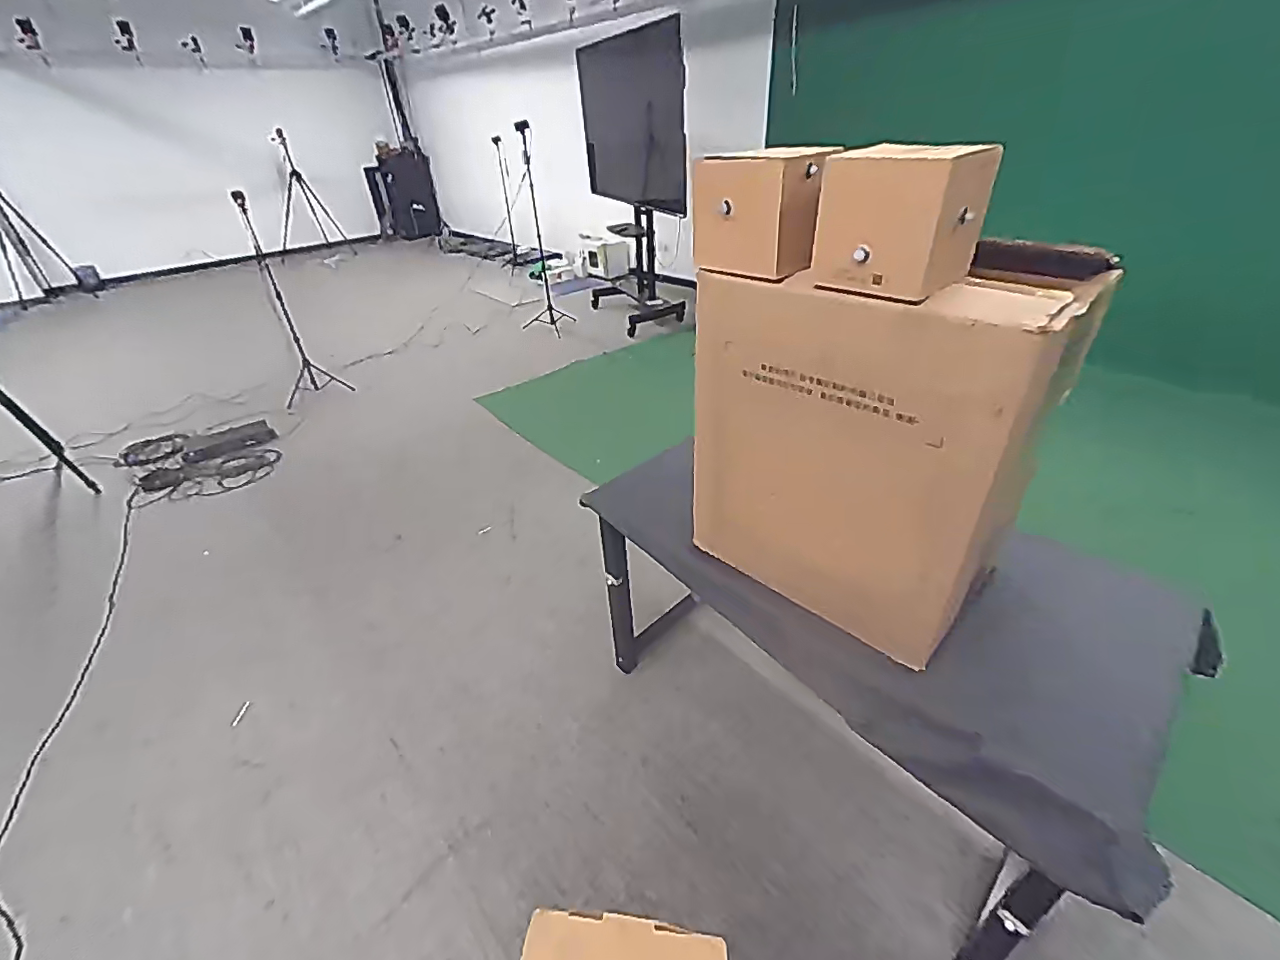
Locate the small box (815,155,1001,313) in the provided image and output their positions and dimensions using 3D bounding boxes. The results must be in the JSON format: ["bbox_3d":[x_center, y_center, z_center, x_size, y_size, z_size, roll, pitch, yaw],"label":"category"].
[{"bbox_3d":[0.367,-0.352,0.764,0.179,0.176,0.168,-31,44,-33],"label":"small box"}]

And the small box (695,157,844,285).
[{"bbox_3d":[0.206,-0.430,0.894,0.168,0.176,0.179,-30,42,-34],"label":"small box"}]

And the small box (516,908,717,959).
[{"bbox_3d":[-0.034,0.481,0.407,0.168,0.176,0.179,8,21,3],"label":"small box"}]
